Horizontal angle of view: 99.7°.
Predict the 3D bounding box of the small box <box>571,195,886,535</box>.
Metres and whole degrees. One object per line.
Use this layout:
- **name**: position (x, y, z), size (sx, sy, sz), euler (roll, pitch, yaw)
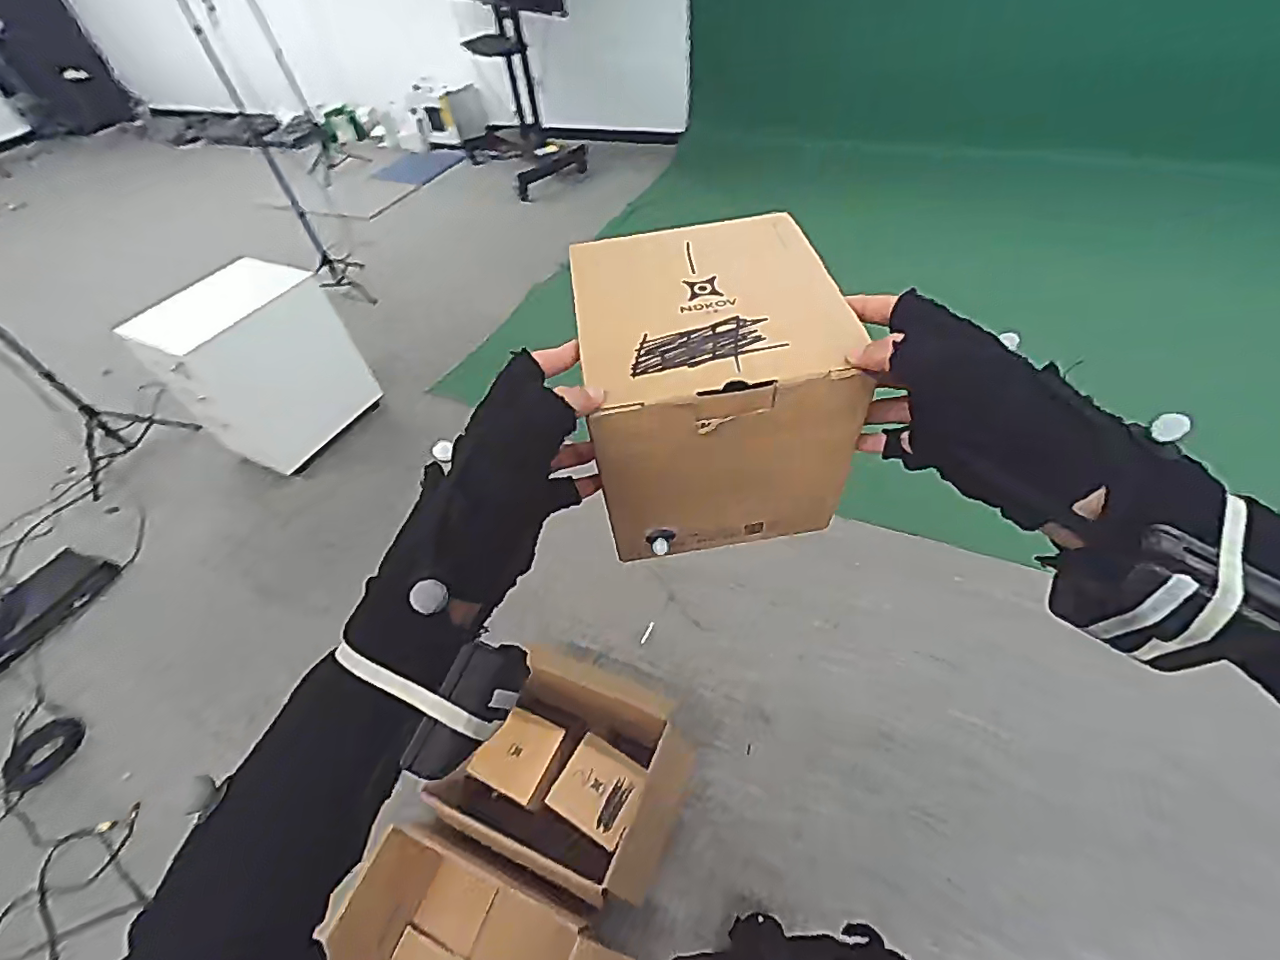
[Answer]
- **small box**: position (0.049, -0.074, 0.396), size (0.168, 0.176, 0.179), euler (-9, 52, -1)
